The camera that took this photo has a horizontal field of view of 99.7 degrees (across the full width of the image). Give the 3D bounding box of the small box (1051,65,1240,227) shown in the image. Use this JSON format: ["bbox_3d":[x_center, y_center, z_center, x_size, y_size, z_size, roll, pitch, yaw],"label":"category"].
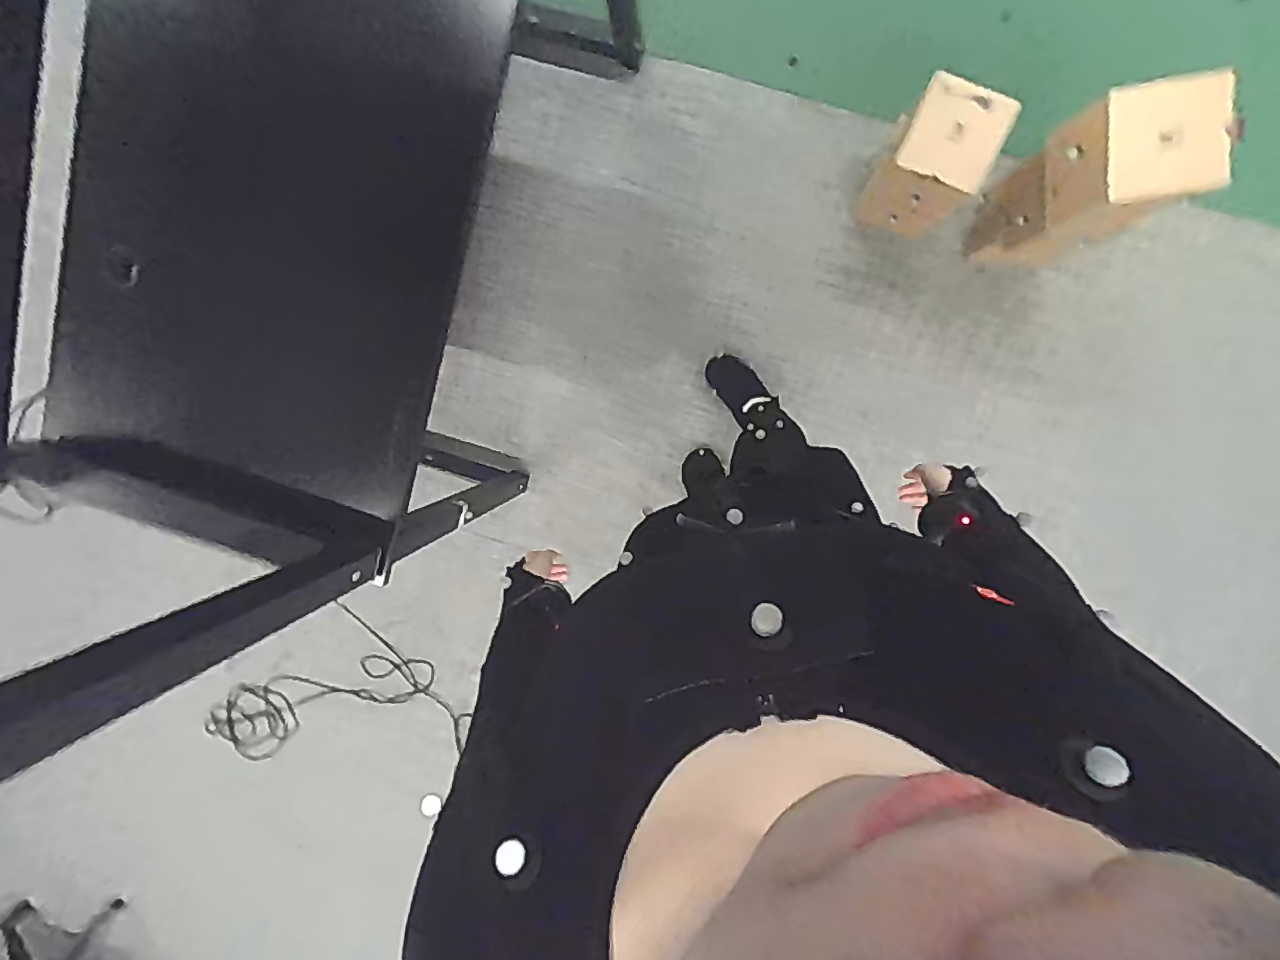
[{"bbox_3d":[0.828,-0.542,0.906,0.179,0.176,0.168,-7,99,7],"label":"small box"}]

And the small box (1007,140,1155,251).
[{"bbox_3d":[0.860,-0.559,1.065,0.179,0.176,0.168,-2,100,6],"label":"small box"}]

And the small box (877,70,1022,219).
[{"bbox_3d":[0.599,-0.654,1.079,0.168,0.176,0.179,24,101,3],"label":"small box"}]

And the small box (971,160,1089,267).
[{"bbox_3d":[0.890,-0.592,1.222,0.179,0.176,0.168,11,100,4],"label":"small box"}]
